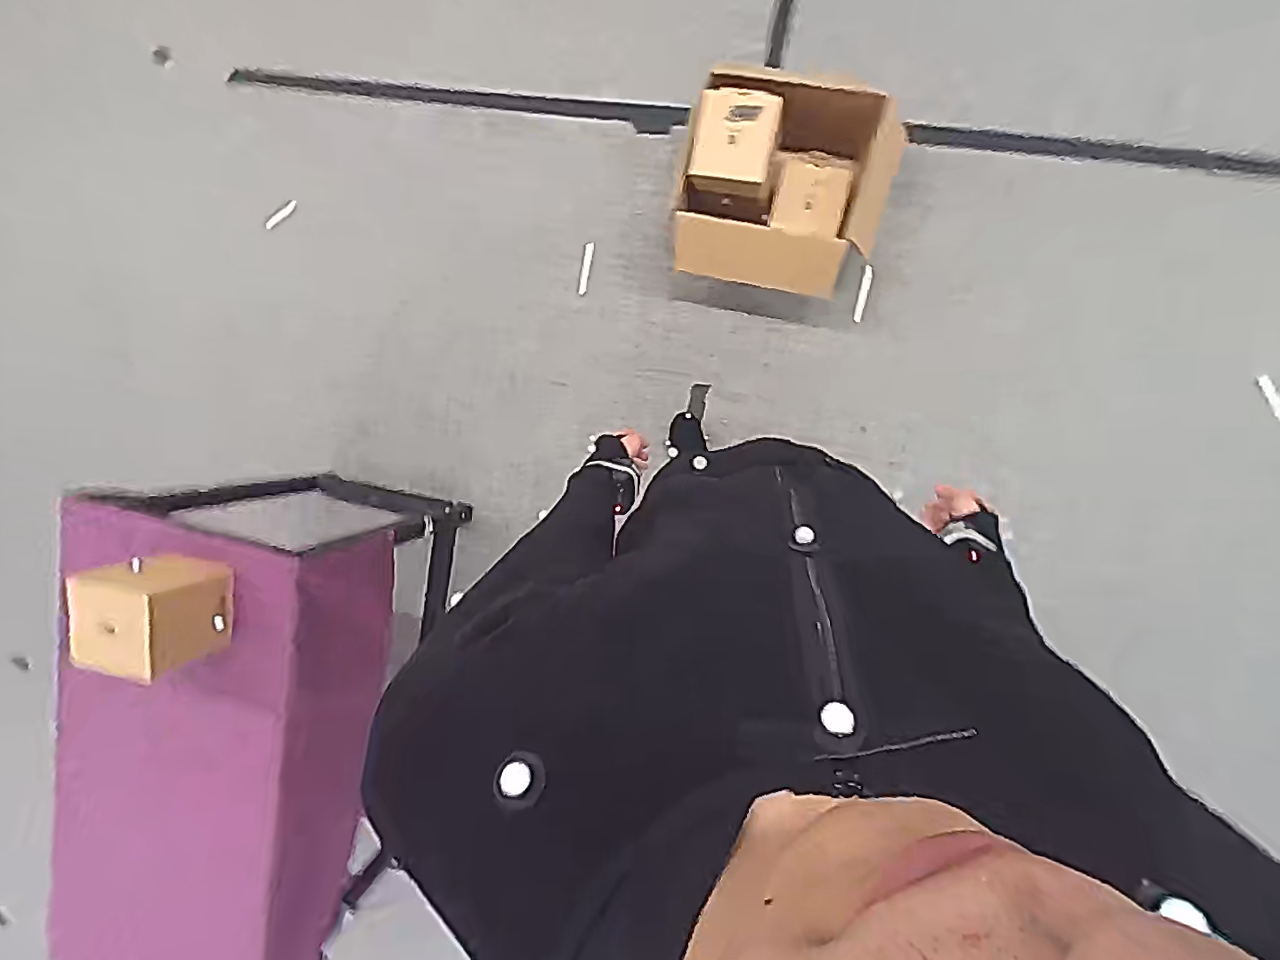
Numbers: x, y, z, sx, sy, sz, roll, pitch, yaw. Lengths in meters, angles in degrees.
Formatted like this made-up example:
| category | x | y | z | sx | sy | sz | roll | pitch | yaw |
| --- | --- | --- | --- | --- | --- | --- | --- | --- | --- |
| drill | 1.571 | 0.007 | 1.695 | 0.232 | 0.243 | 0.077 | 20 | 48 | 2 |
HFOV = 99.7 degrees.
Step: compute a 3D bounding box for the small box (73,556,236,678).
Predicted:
| category | x | y | z | sx | sy | sz | roll | pitch | yaw |
| --- | --- | --- | --- | --- | --- | --- | --- | --- | --- |
| small box | -0.935 | 0.254 | 1.050 | 0.179 | 0.176 | 0.168 | 9 | 99 | 10 |
